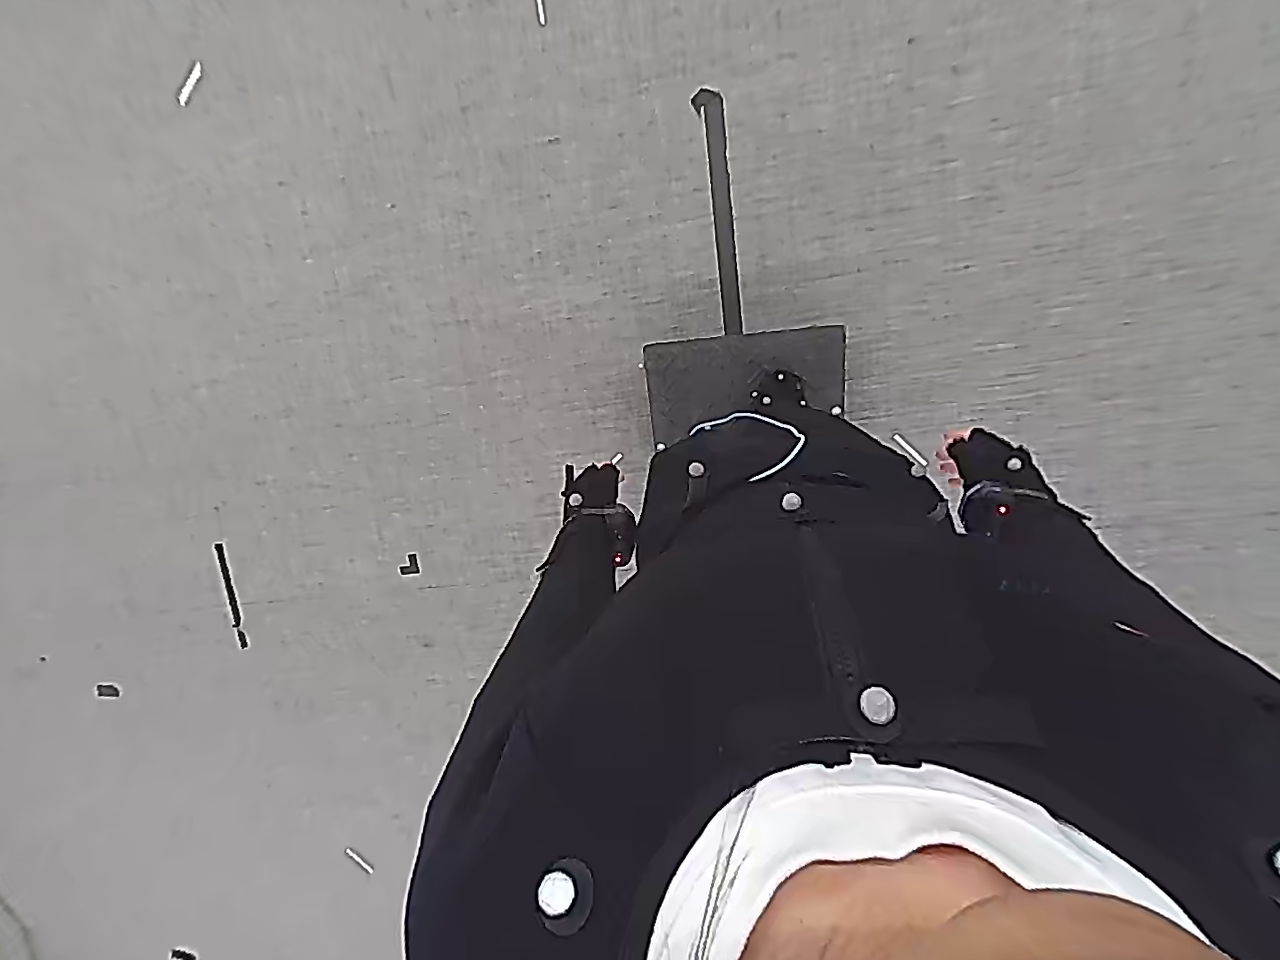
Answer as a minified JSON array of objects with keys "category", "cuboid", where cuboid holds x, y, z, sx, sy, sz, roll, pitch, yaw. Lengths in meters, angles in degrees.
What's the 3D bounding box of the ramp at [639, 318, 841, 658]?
[{"category":"ramp","cuboid":[0.300,0.088,1.498,0.509,0.206,0.991,-6,102,9]}]
